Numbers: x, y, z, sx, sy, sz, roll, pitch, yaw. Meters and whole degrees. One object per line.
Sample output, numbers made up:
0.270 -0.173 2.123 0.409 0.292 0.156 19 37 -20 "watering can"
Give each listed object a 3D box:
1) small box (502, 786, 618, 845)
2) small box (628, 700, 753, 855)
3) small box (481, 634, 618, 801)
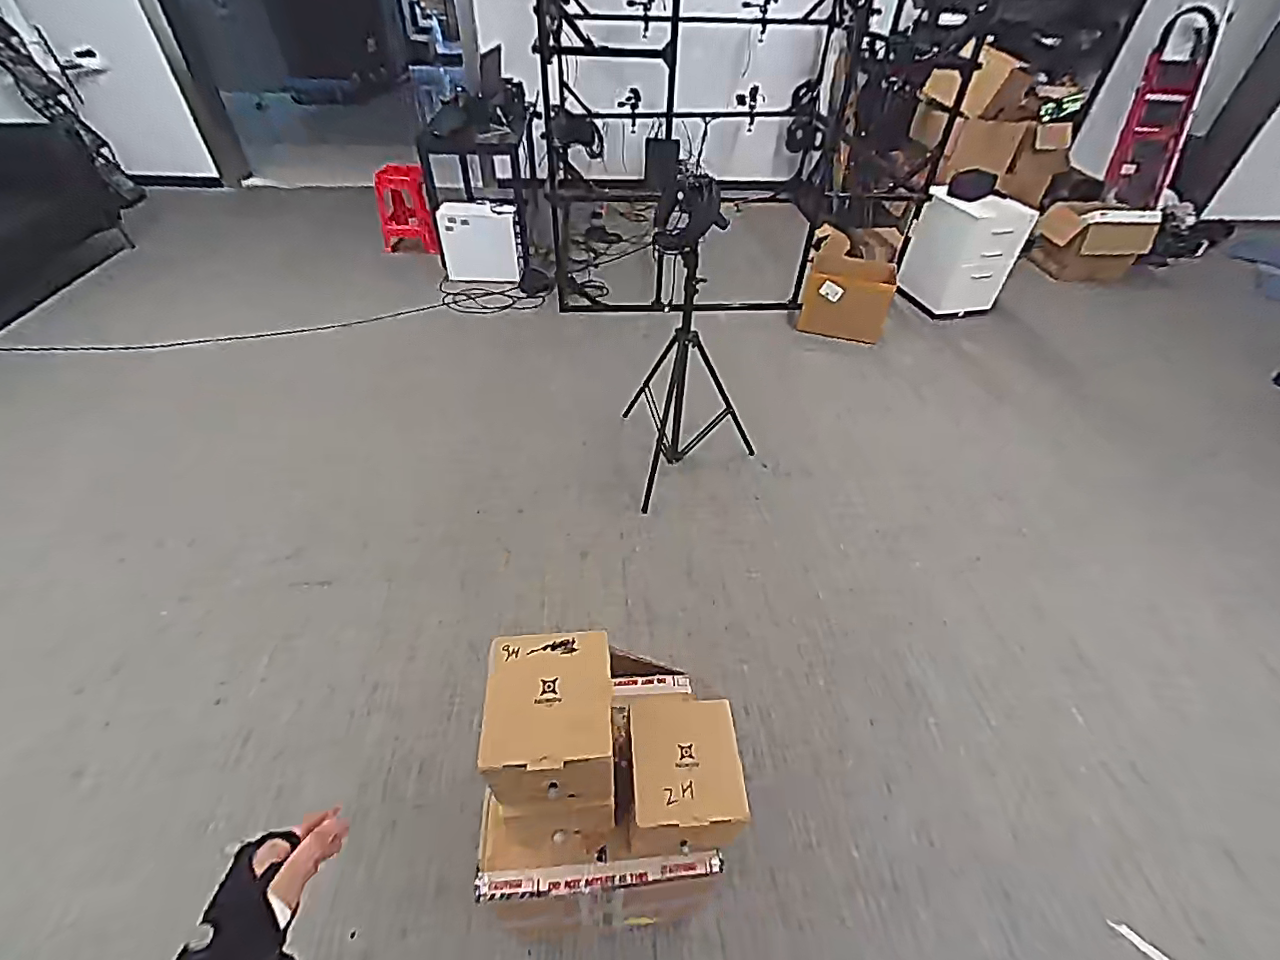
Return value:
-0.124 0.466 0.879 0.168 0.176 0.179 -5 47 -5 "small box"
0.069 0.480 0.874 0.168 0.176 0.179 -1 45 -6 "small box"
-0.119 0.342 0.771 0.168 0.176 0.179 -3 47 -4 "small box"
